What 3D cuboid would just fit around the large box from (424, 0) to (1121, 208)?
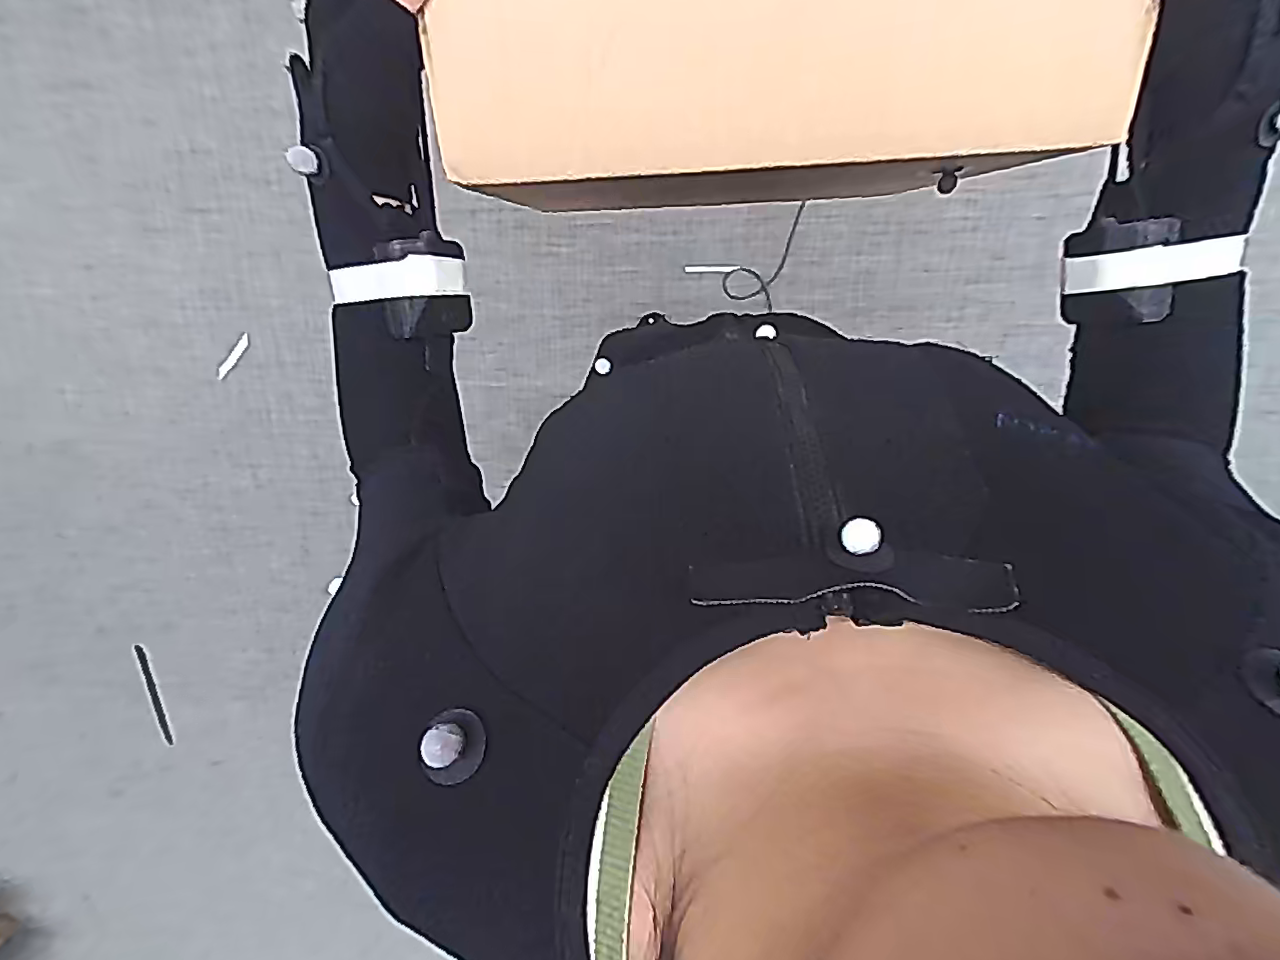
[{"bbox_3d":[0.074,-0.398,0.415,0.408,0.320,0.320,-2,113,2],"label":"large box"}]
